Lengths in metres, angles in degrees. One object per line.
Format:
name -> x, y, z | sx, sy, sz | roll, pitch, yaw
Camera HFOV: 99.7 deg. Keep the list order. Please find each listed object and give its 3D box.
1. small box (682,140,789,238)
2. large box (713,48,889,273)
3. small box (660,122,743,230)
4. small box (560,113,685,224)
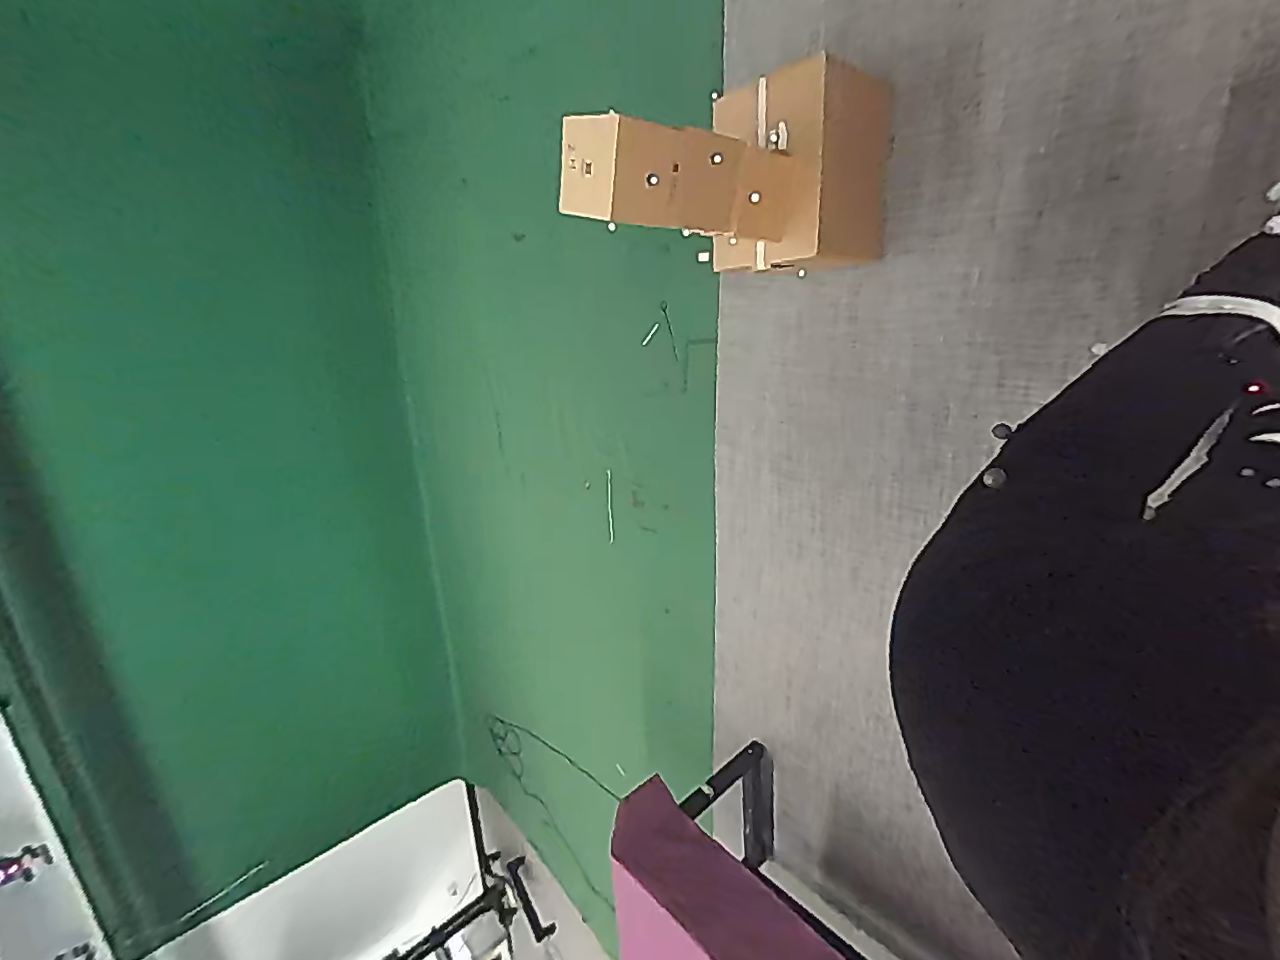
small box -> 0.220, -0.661, 1.241 | 0.168, 0.176, 0.179 | 29, 124, 42
large box -> 0.403, -0.762, 1.374 | 0.320, 0.320, 0.408 | 15, 113, 47
small box -> 0.094, -0.636, 1.140 | 0.168, 0.176, 0.179 | 33, 127, 40
small box -> -0.035, -0.598, 1.045 | 0.179, 0.176, 0.168 | 33, 126, 40
